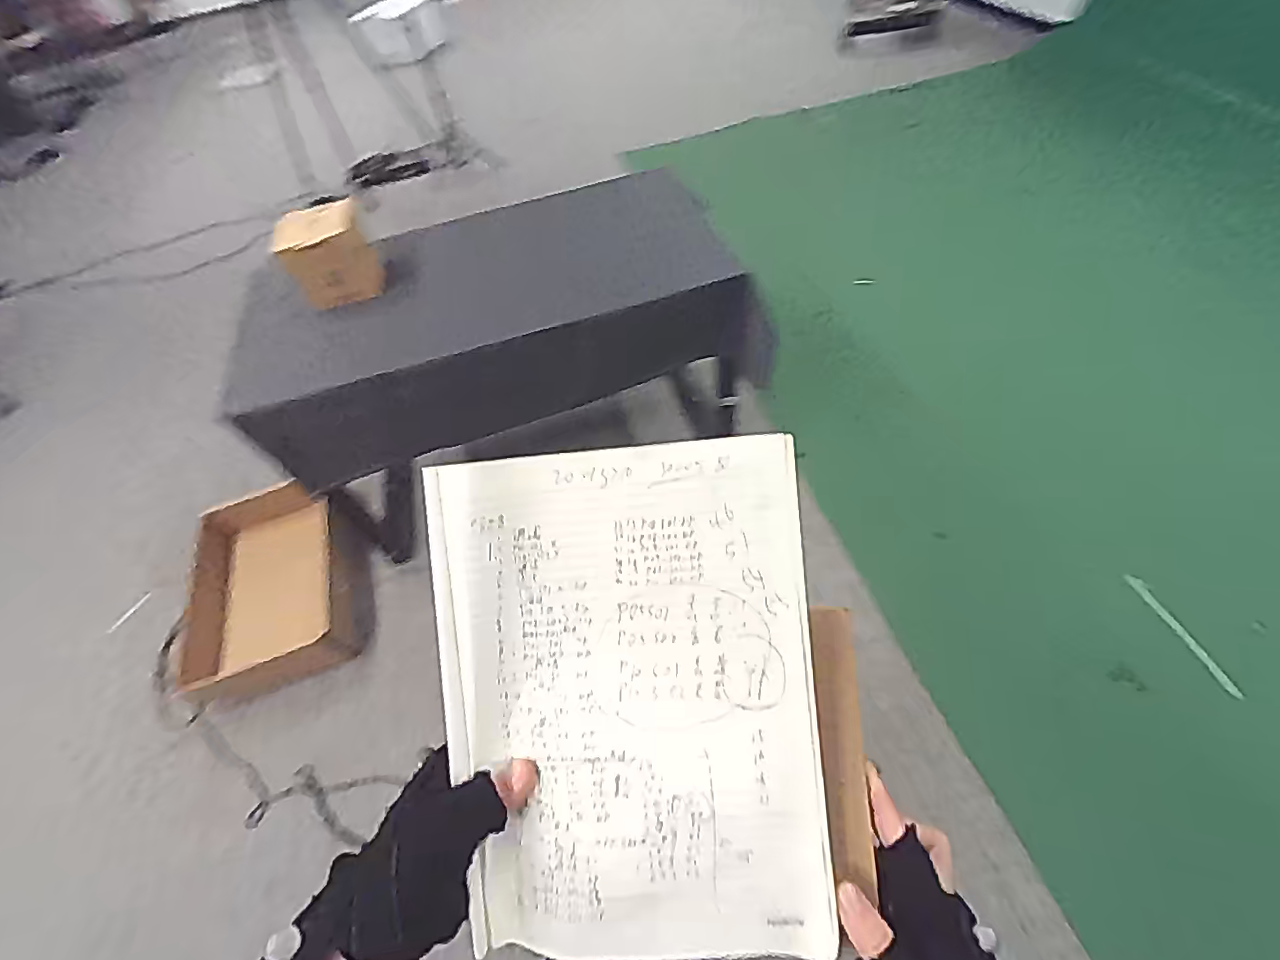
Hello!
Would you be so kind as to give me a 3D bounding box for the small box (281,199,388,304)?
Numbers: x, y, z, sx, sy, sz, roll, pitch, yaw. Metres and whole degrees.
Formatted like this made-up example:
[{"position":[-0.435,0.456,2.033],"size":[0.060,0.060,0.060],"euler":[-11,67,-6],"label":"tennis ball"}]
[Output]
[{"position":[-0.745,-0.557,1.340],"size":[0.168,0.176,0.179],"euler":[-14,54,-3],"label":"small box"}]
